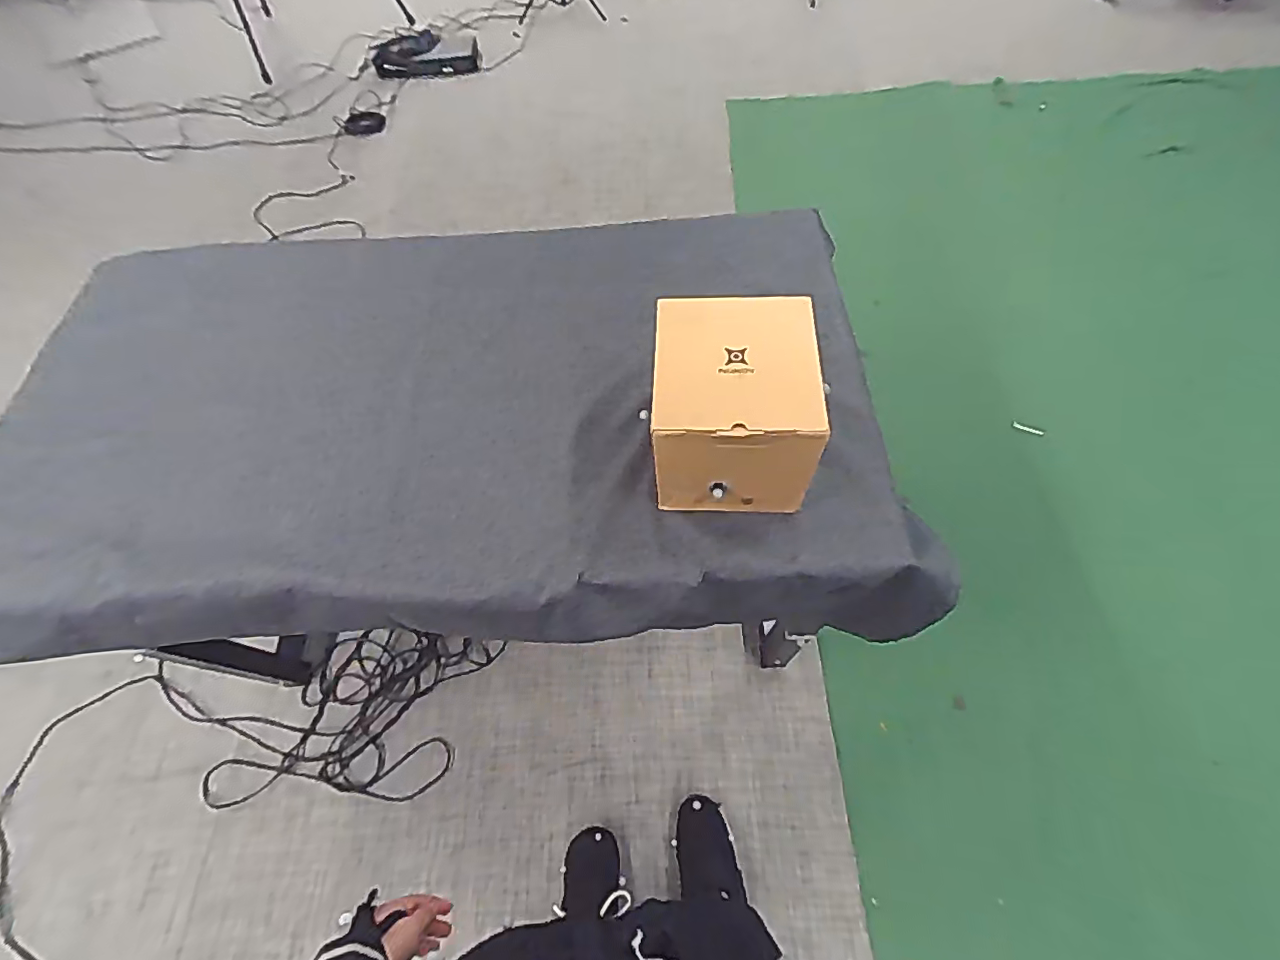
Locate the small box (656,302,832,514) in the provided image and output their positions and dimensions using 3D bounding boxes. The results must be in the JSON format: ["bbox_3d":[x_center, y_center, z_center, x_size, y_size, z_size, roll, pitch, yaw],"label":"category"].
[{"bbox_3d":[0.104,-0.078,0.612,0.168,0.176,0.179,0,61,4],"label":"small box"}]
